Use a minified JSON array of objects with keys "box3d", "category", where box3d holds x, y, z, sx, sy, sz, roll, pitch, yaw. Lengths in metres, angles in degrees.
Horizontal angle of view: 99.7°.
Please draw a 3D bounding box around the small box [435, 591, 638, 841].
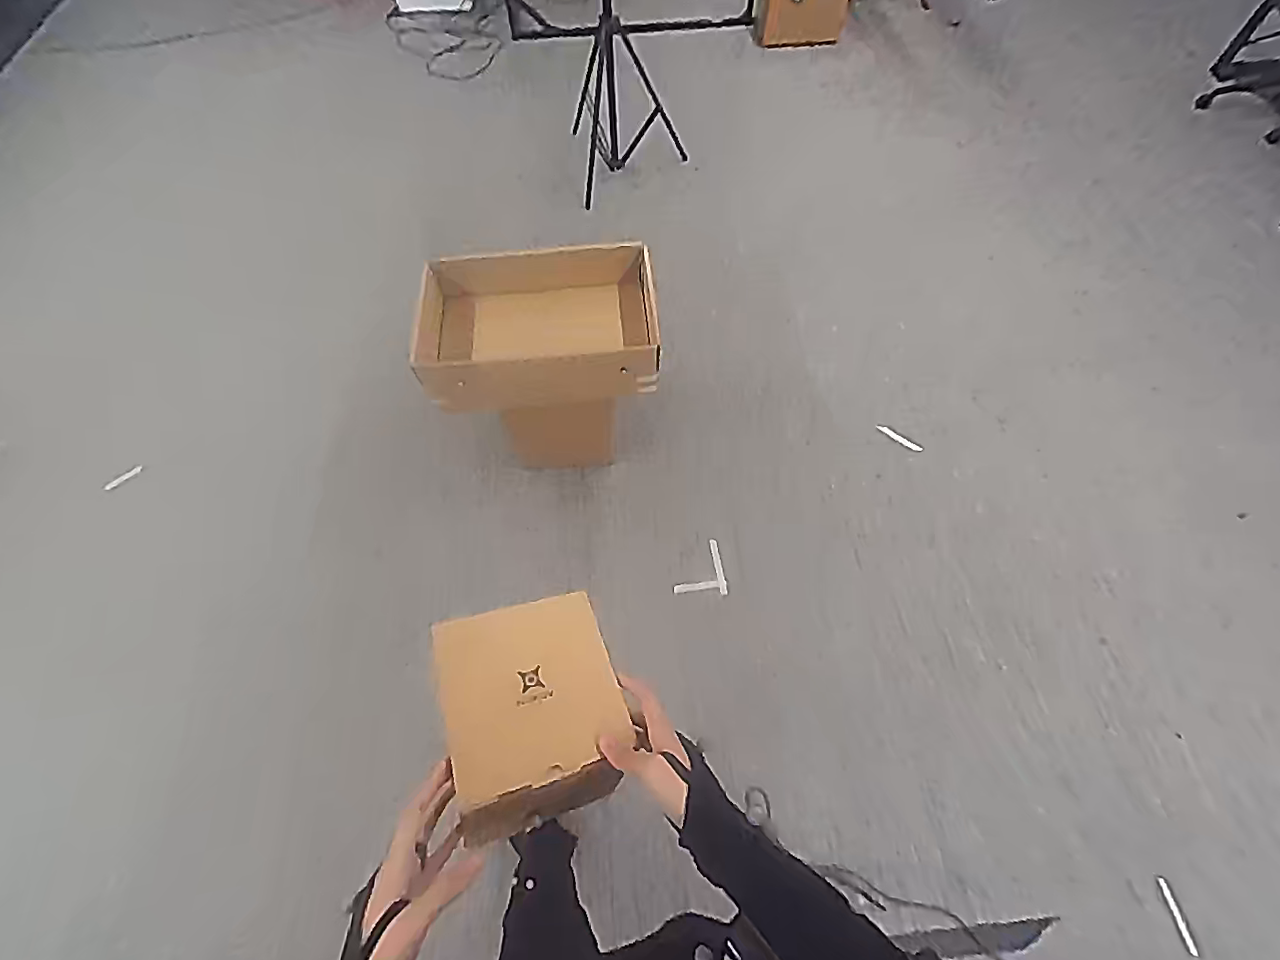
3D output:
[{"box3d":[-0.121,0.249,0.580,0.168,0.176,0.179,-9,51,-23],"category":"small box"}]
